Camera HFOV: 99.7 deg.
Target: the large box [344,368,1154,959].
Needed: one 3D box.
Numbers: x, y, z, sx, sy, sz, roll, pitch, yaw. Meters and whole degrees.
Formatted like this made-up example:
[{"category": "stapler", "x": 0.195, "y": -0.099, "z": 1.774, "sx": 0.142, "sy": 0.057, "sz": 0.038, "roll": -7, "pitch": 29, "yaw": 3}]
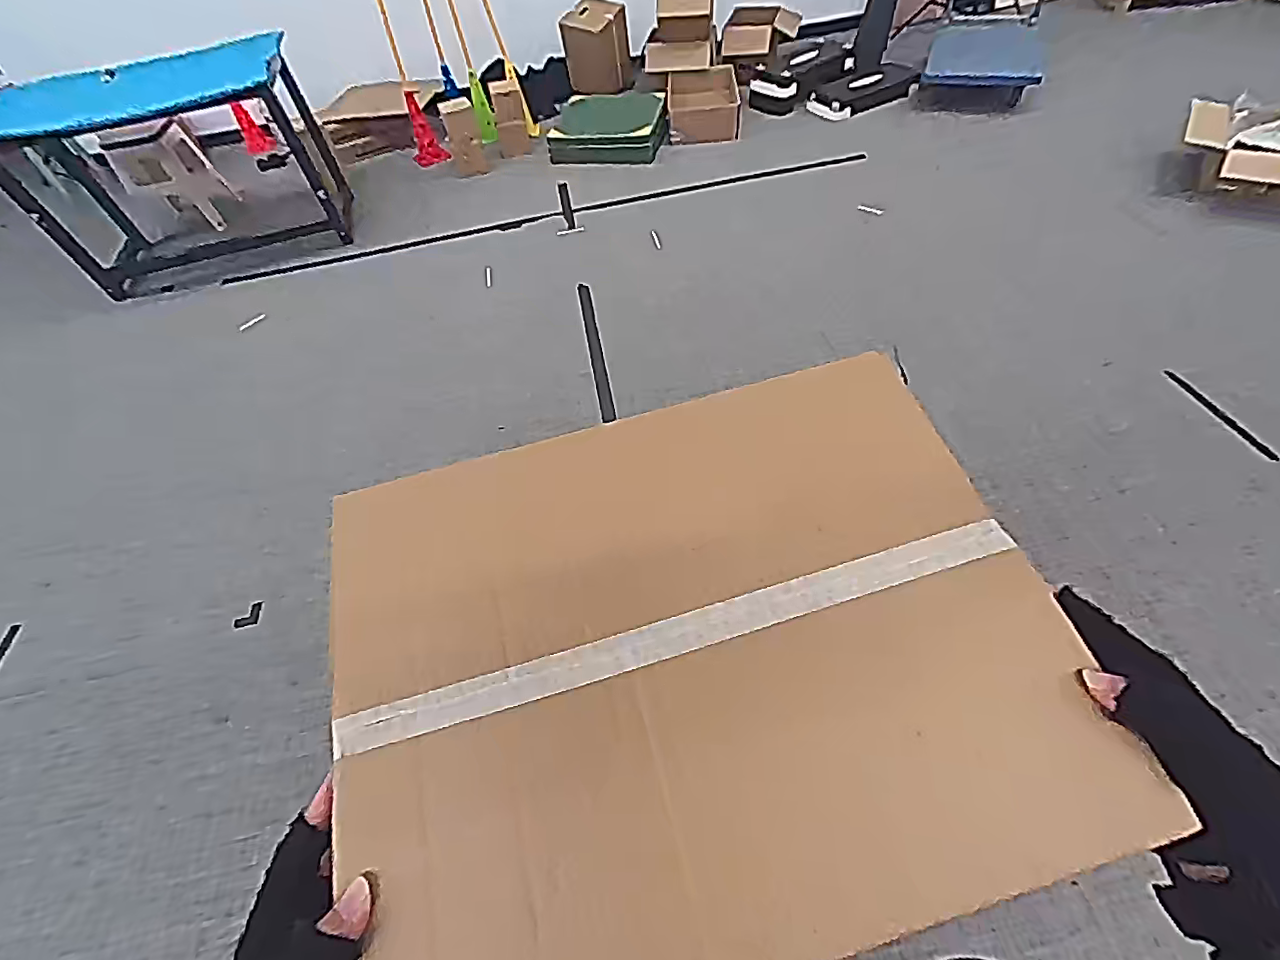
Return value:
[{"category": "large box", "x": 0.038, "y": 0.167, "z": 0.451, "sx": 0.408, "sy": 0.320, "sz": 0.320, "roll": -16, "pitch": 61, "yaw": -4}]
